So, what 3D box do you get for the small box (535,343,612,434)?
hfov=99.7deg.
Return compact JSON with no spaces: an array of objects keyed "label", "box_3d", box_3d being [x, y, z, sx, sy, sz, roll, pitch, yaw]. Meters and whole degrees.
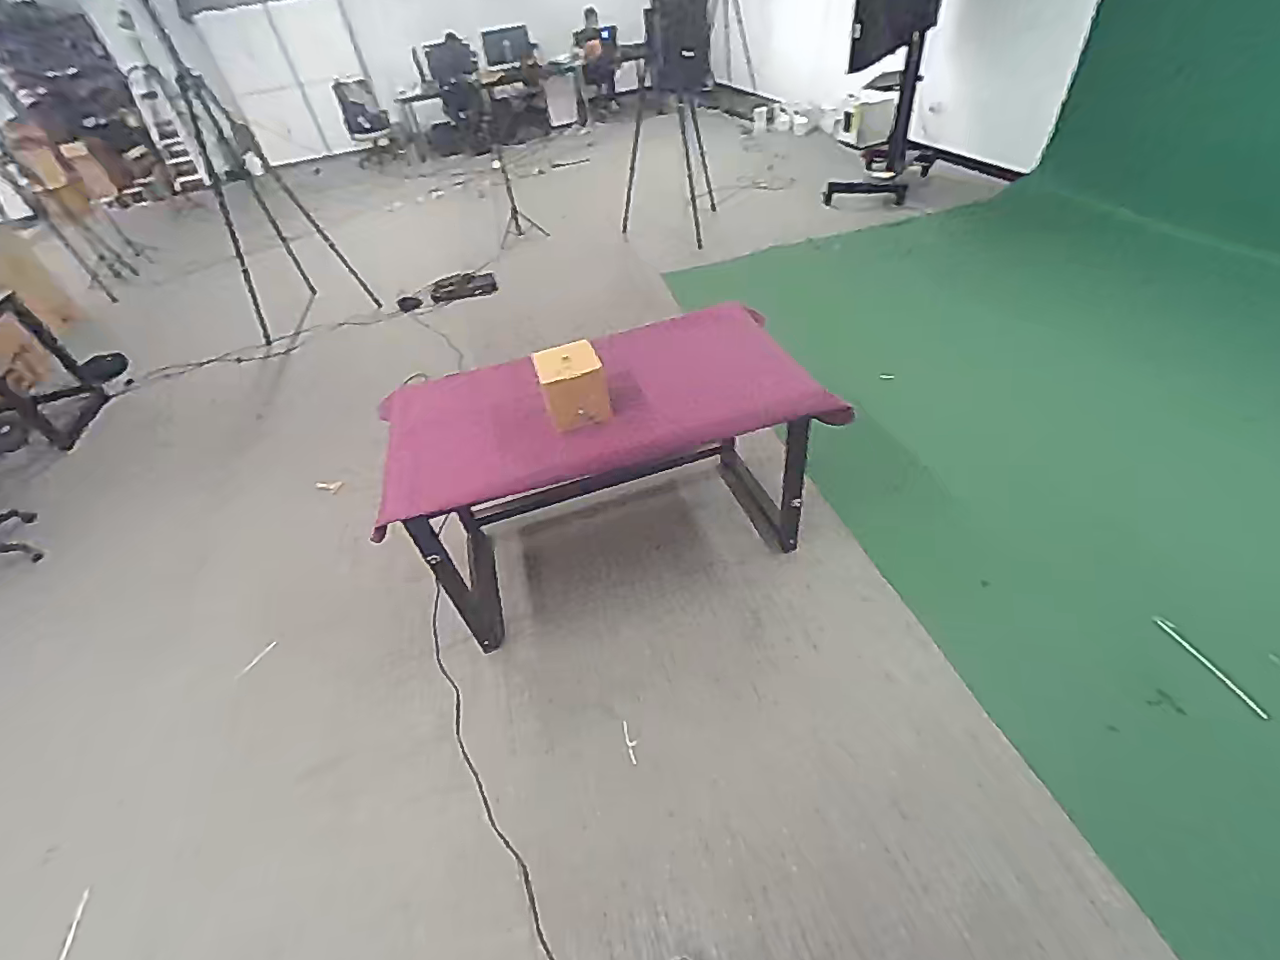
[{"label":"small box","box_3d":[-0.186,-0.257,1.525,0.168,0.176,0.179,-17,44,-8]}]
